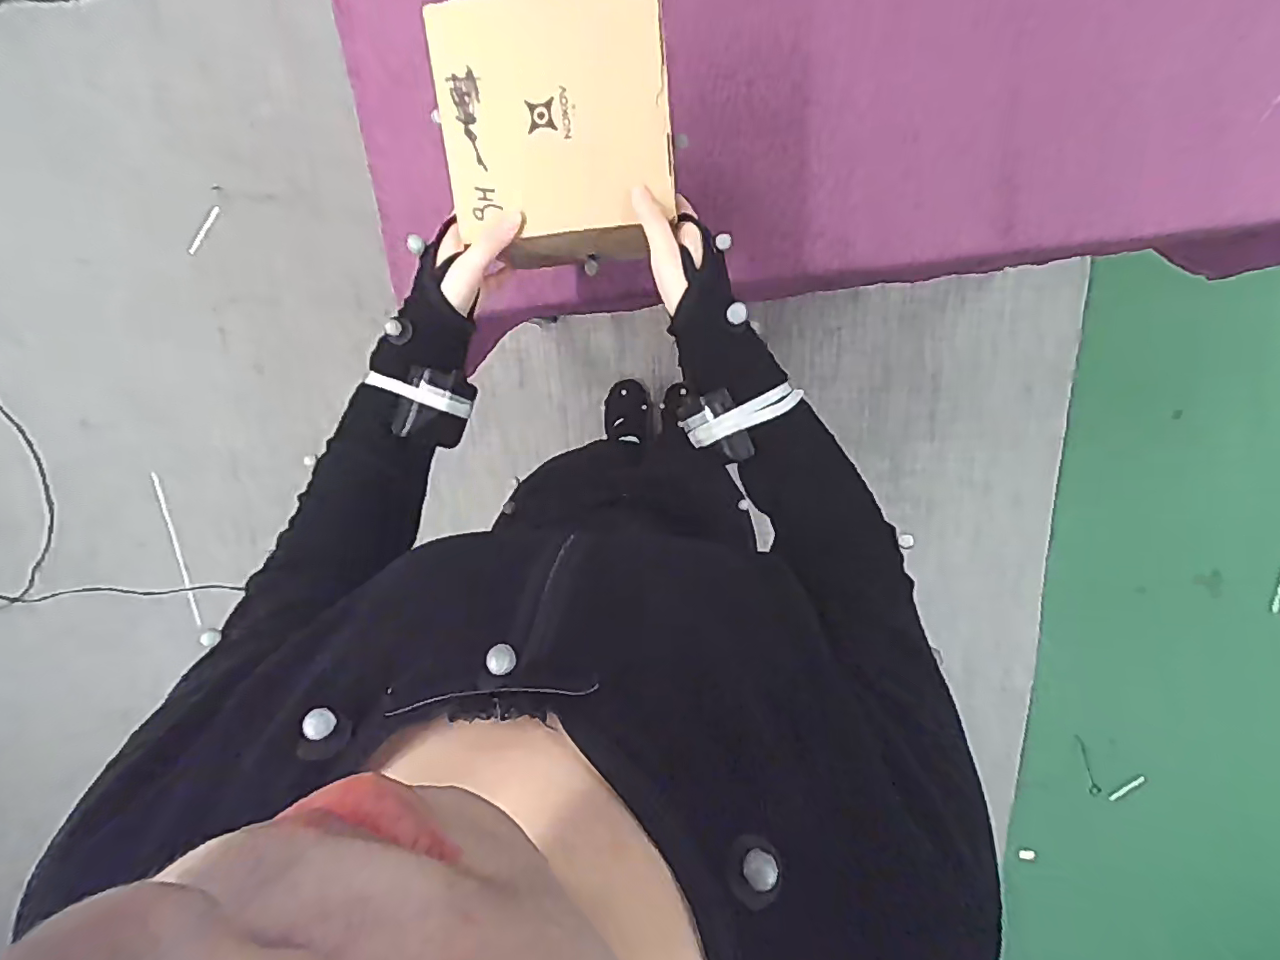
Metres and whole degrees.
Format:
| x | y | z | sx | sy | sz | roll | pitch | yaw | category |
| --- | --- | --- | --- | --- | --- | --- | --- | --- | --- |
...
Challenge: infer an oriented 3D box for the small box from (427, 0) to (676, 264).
| x | y | z | sx | sy | sz | roll | pitch | yaw | category |
| --- | --- | --- | --- | --- | --- | --- | --- | --- | --- |
| -0.060 | -0.297 | 0.486 | 0.179 | 0.176 | 0.168 | -4 | 104 | 5 | small box |
